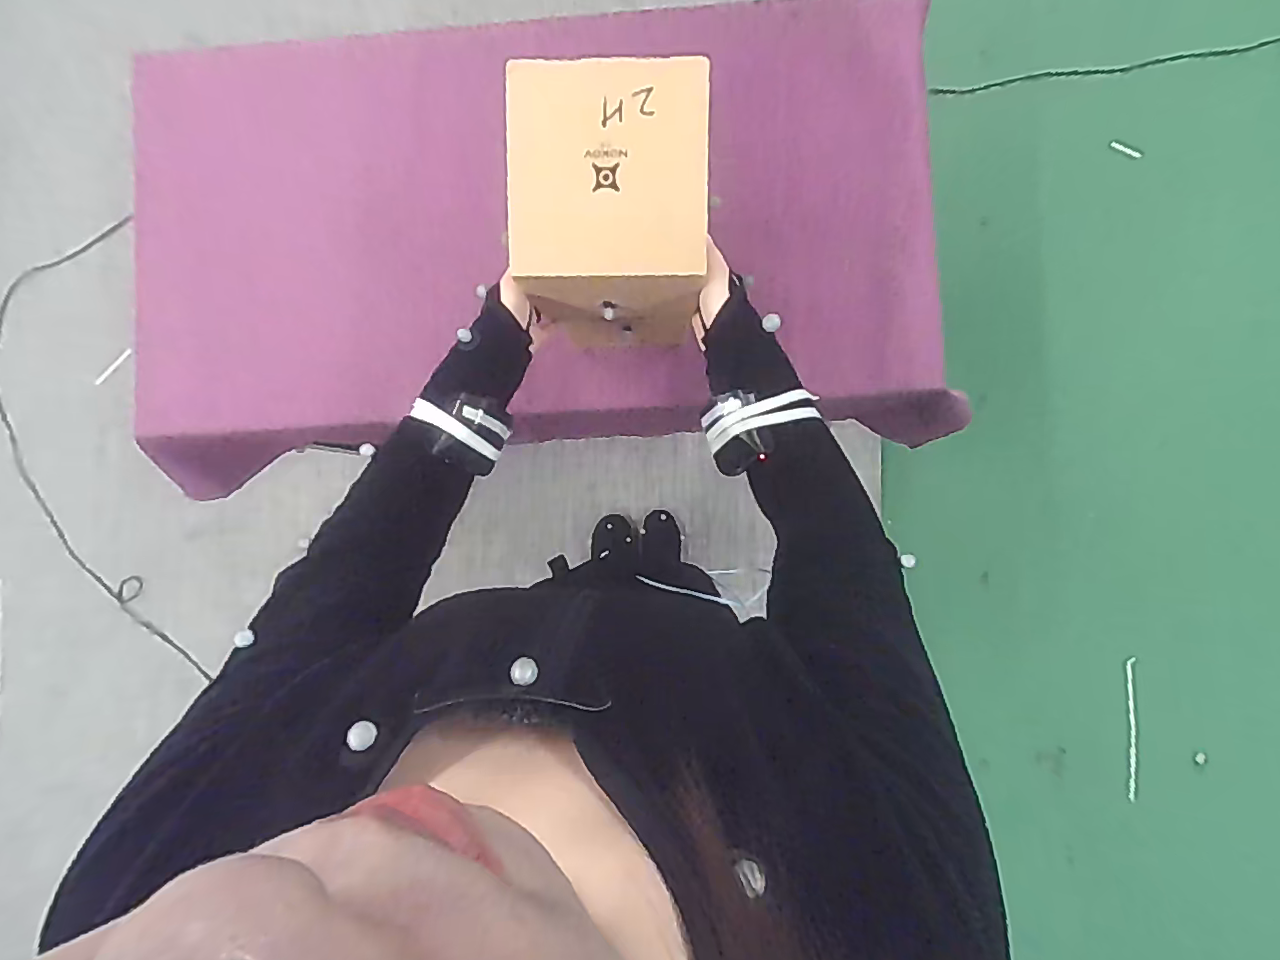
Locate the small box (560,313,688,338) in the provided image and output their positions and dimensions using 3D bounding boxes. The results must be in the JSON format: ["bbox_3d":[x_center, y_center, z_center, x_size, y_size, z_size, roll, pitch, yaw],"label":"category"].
[{"bbox_3d":[-0.017,-0.292,0.718,0.168,0.176,0.179,-1,89,2],"label":"small box"}]

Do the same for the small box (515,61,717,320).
[{"bbox_3d":[-0.019,-0.256,0.521,0.168,0.176,0.179,1,94,1],"label":"small box"}]
